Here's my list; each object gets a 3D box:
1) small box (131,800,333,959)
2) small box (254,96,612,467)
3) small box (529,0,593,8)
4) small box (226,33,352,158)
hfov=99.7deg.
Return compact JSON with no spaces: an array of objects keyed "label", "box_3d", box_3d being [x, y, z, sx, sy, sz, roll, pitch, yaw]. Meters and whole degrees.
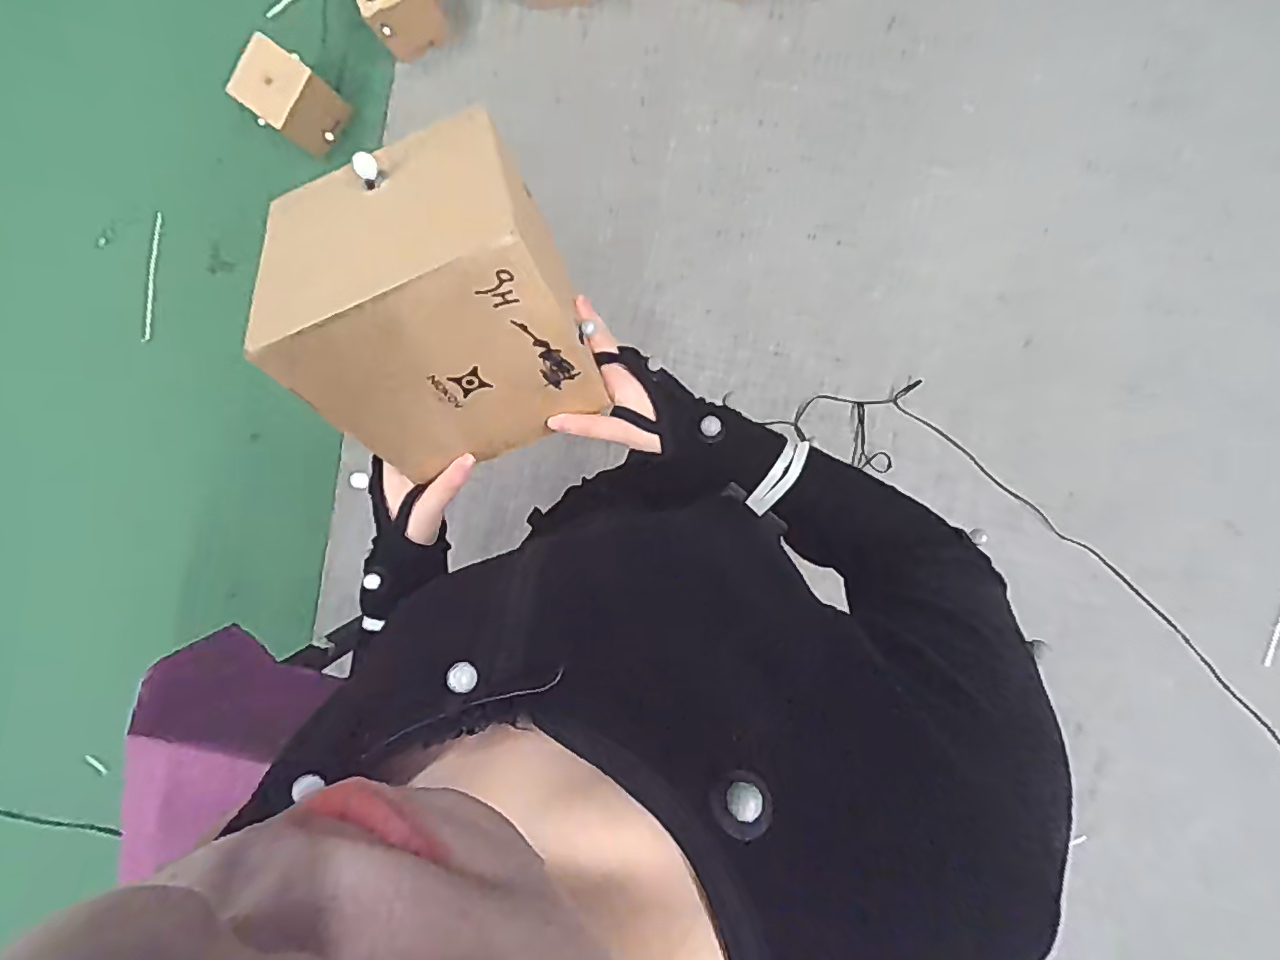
[{"label":"small box","box_3d":[-0.588,0.624,0.798,0.168,0.176,0.179,15,96,4]},{"label":"small box","box_3d":[-0.139,-0.143,0.410,0.179,0.168,0.176,-20,58,5]},{"label":"small box","box_3d":[-0.205,-1.284,1.300,0.179,0.176,0.168,1,96,5]},{"label":"small box","box_3d":[-0.903,-0.985,1.406,0.179,0.176,0.168,37,98,2]}]
